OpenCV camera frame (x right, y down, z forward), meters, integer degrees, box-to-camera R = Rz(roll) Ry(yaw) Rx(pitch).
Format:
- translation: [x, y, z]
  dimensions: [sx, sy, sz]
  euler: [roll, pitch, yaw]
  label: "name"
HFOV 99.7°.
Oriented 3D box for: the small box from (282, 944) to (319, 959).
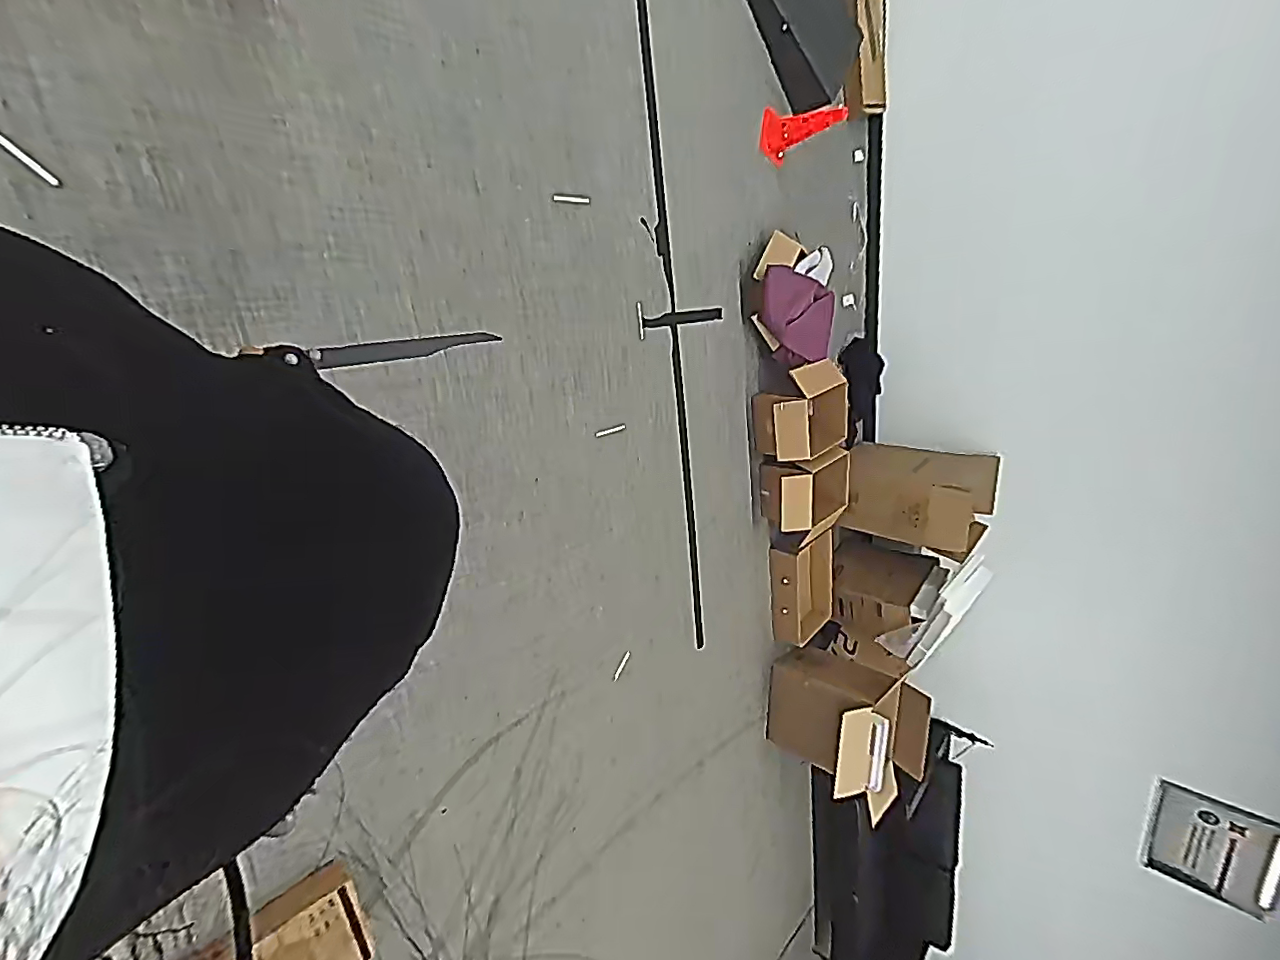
- translation: [-0.860, 1.310, 1.333]
  dimensions: [0.168, 0.176, 0.179]
  euler: [-26, 116, -40]
  label: "small box"
